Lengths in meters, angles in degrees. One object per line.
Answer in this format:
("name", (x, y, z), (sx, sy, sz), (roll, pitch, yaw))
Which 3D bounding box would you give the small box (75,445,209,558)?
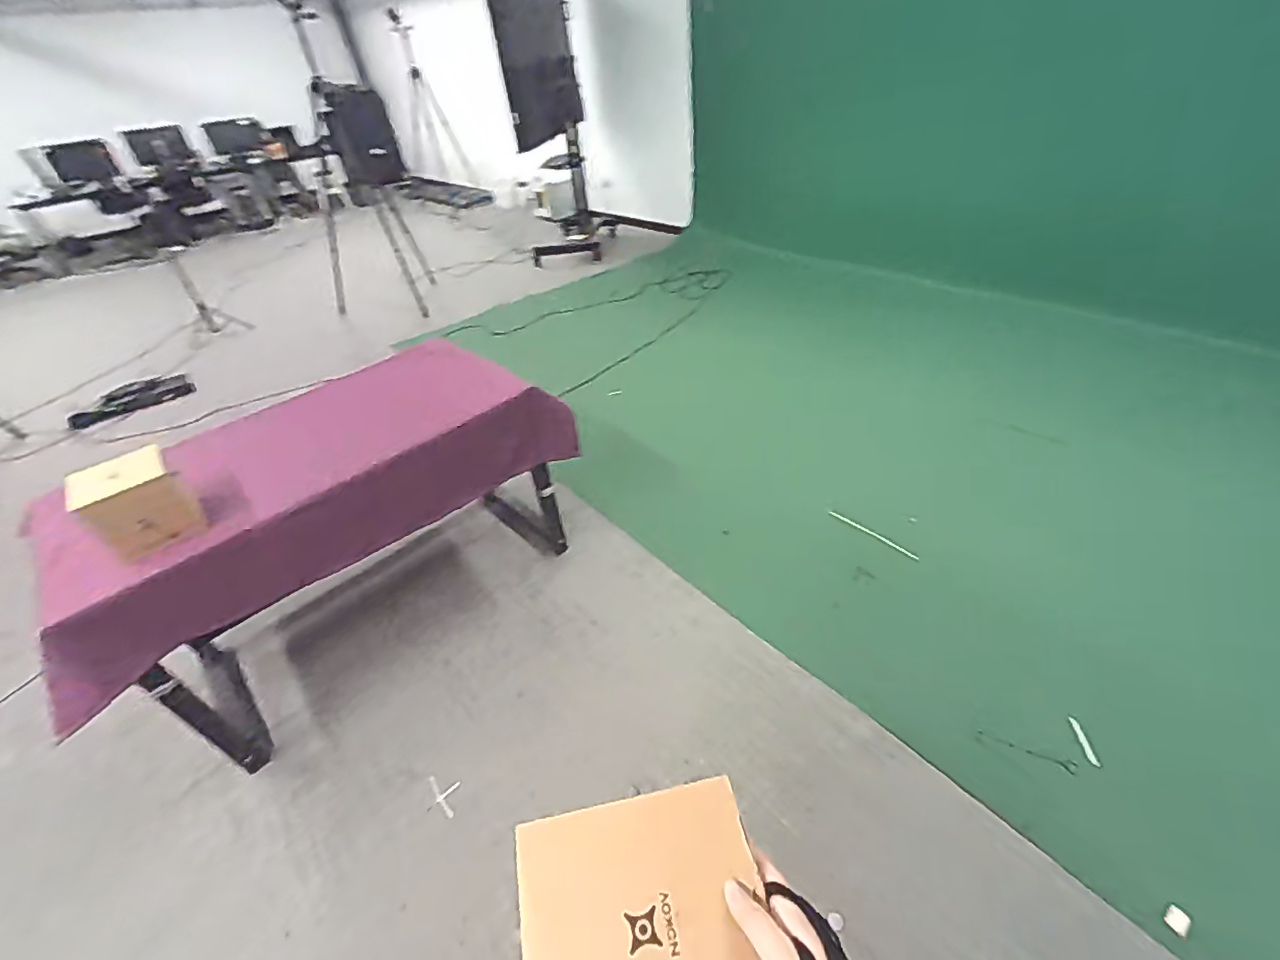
("small box", (-1.127, 0.053, 1.233), (0.168, 0.176, 0.179), (-32, 45, -28))

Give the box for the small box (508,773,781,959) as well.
("small box", (0.000, 0.365, 0.428), (0.179, 0.176, 0.168), (-9, 46, -11))
